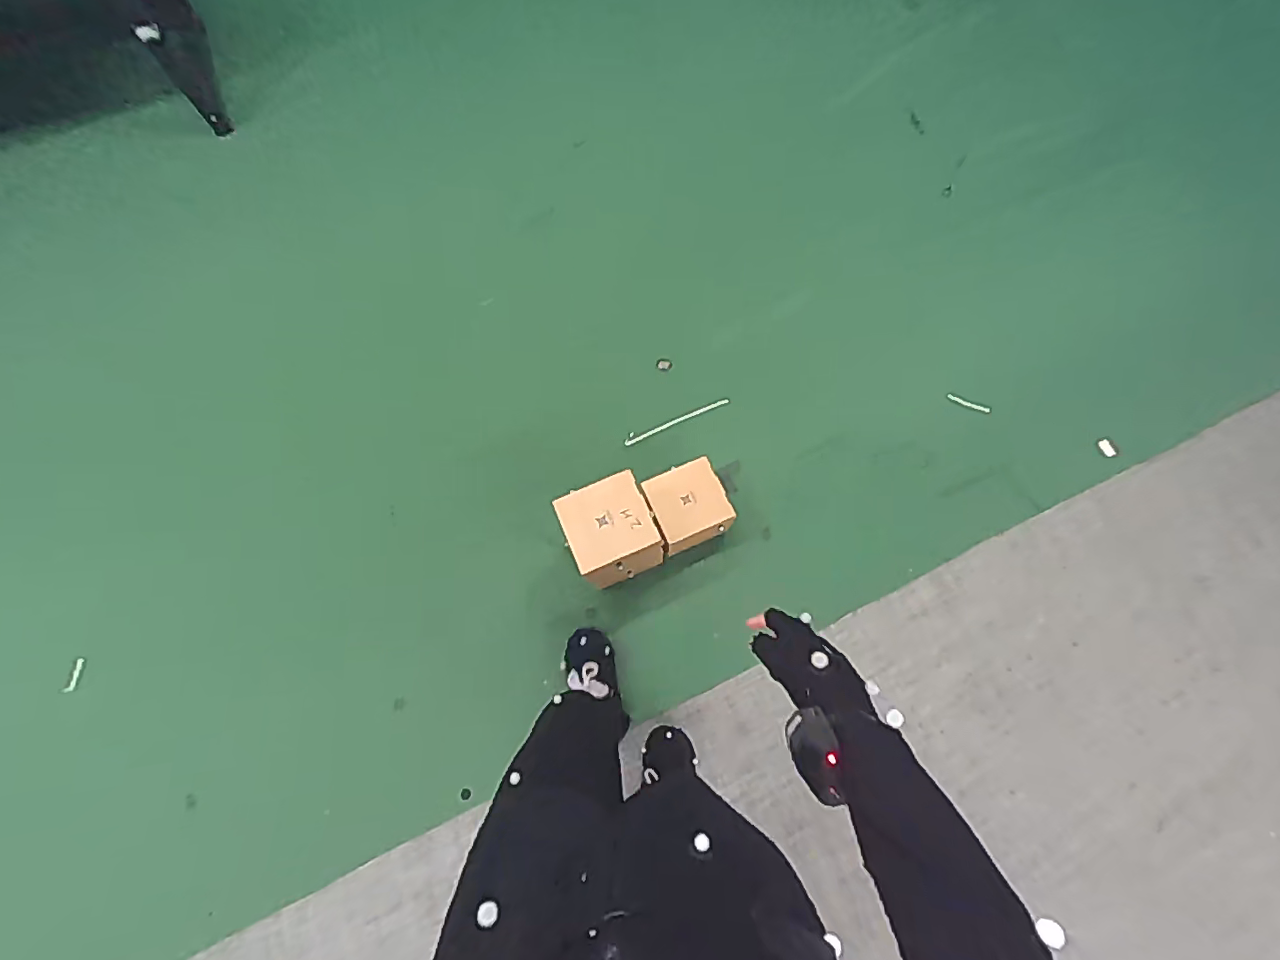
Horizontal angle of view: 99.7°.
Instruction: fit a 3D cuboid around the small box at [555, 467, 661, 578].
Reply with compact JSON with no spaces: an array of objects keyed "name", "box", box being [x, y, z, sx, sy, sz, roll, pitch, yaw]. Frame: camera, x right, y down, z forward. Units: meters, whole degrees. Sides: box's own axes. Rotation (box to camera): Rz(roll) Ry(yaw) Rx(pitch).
[{"name":"small box","box":[-0.063,0.099,1.161,0.179,0.176,0.168,-23,74,-6]}]
